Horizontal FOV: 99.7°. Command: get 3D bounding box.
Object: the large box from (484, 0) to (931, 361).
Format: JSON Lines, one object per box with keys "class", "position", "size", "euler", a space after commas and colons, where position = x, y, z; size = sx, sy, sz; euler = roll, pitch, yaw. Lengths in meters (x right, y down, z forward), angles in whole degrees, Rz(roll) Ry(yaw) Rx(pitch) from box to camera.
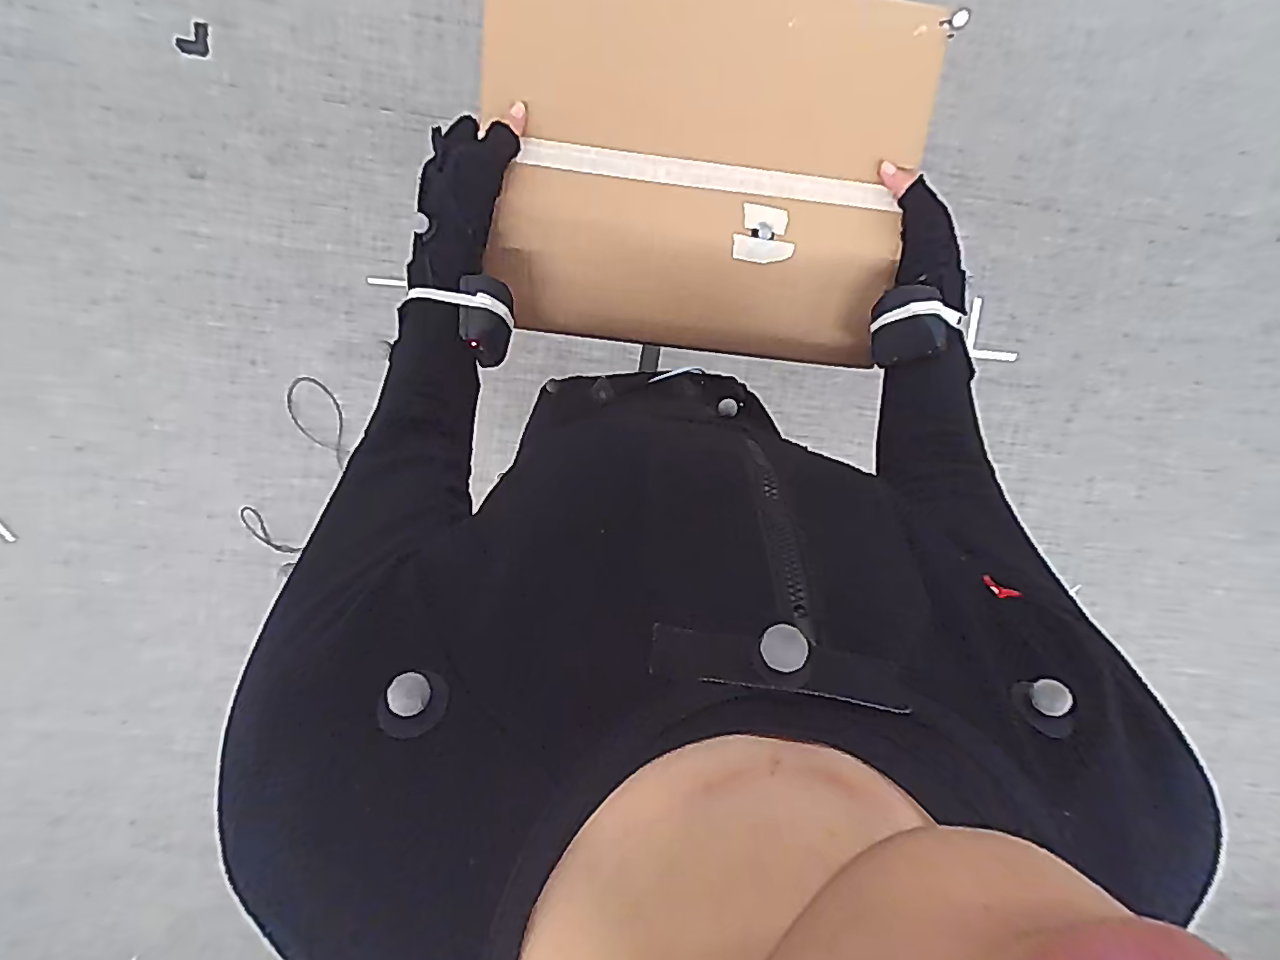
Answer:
{"class": "large box", "position": [0.045, -0.328, 0.659], "size": [0.408, 0.320, 0.320], "euler": [6, 106, -5]}
